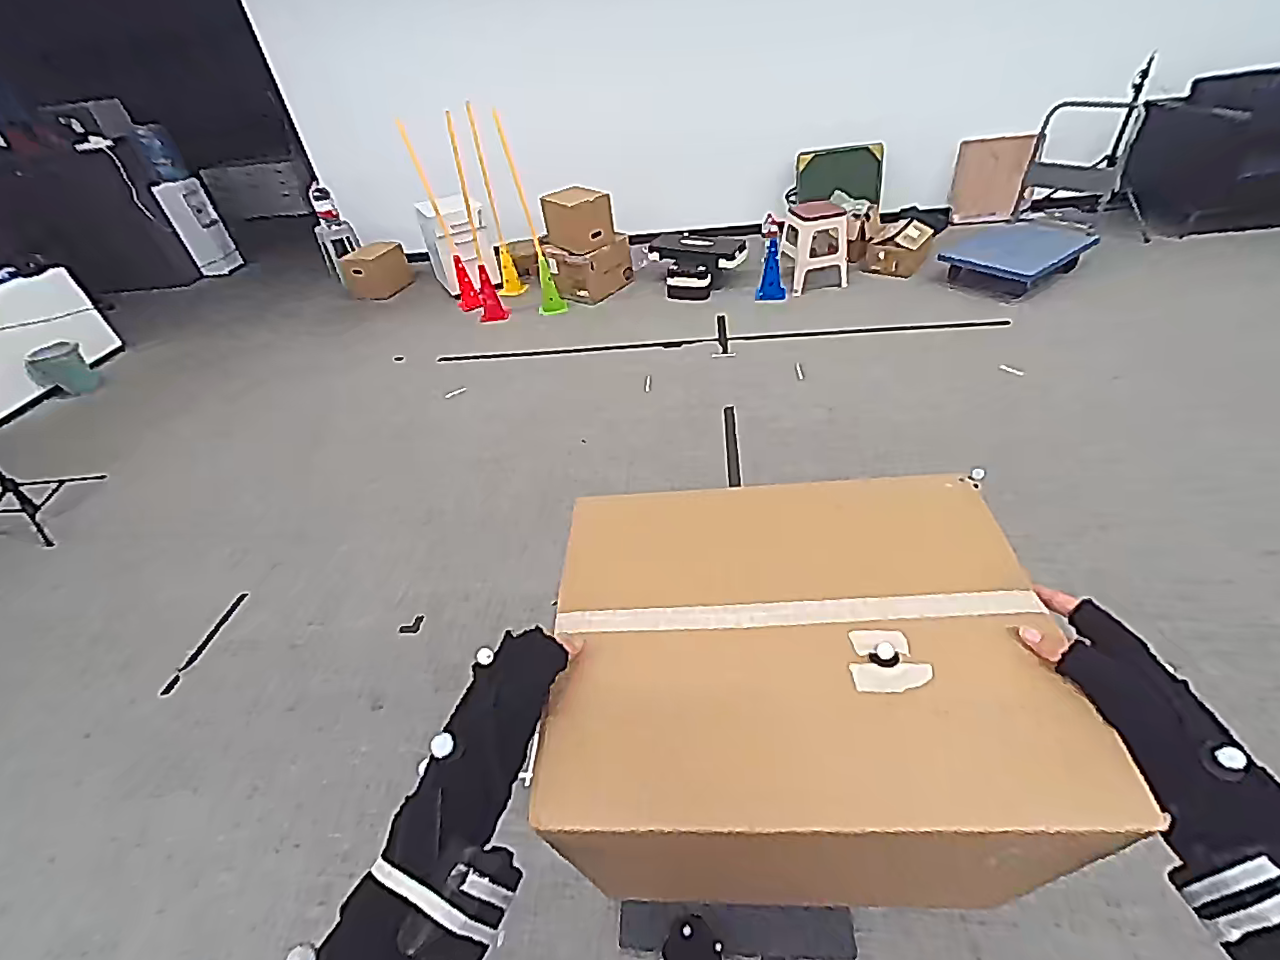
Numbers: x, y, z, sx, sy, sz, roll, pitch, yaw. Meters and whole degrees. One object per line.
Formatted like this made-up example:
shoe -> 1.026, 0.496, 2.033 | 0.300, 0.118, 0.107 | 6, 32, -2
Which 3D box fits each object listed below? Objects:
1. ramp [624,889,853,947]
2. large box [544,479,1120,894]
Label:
ramp -> 0.223, 0.592, 1.455 | 0.509, 0.206, 0.991 | -3, 41, 4
large box -> 0.143, 0.227, 0.583 | 0.408, 0.320, 0.320 | -4, 45, 6
